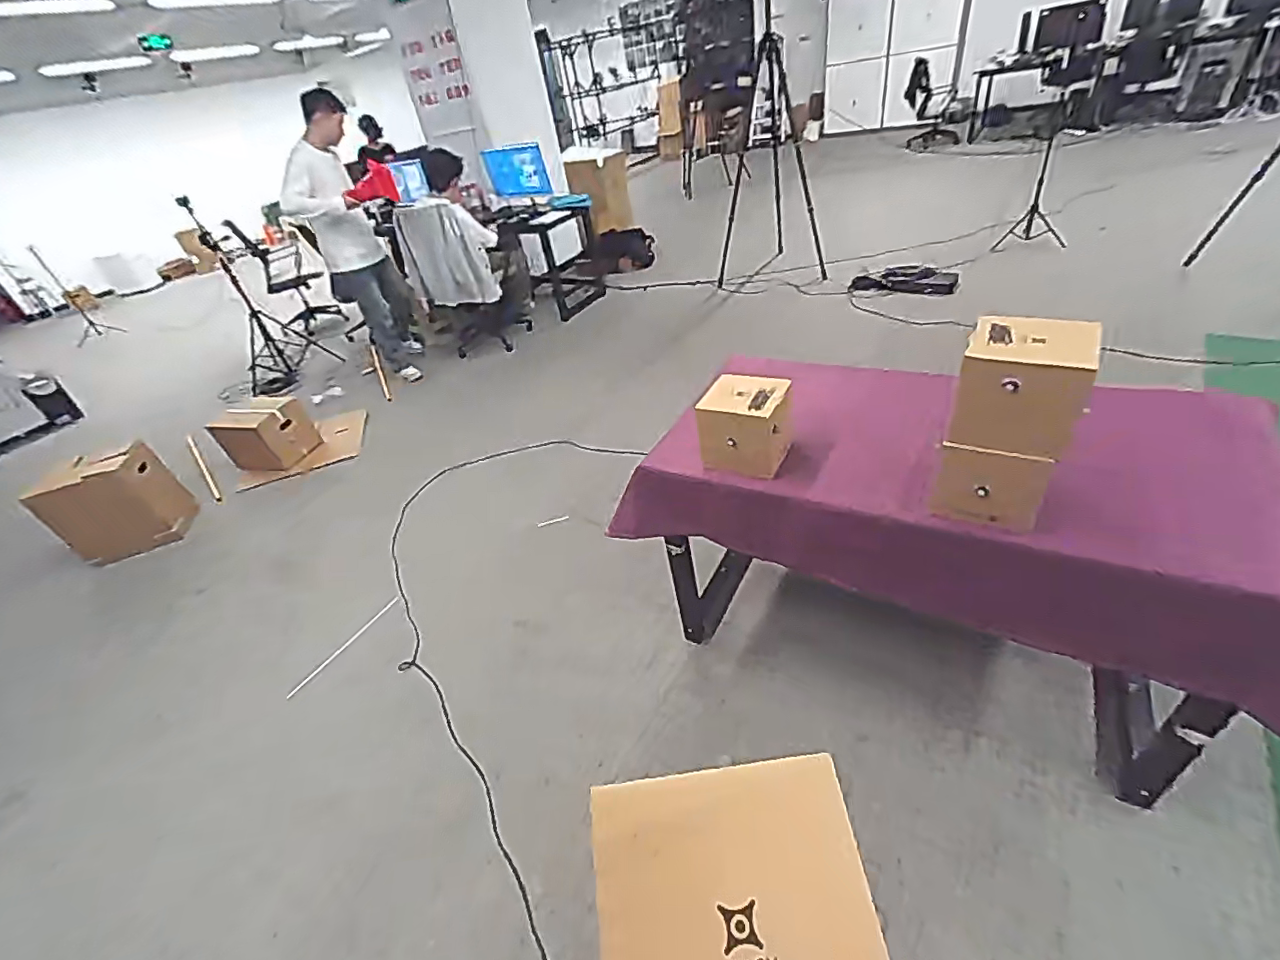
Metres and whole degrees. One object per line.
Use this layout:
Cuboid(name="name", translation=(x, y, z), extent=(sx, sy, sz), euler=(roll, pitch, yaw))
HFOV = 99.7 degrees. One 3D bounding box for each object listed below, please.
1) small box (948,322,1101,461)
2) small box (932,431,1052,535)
Cuboid(name="small box", translation=(0.646, -0.152, 0.921), extent=(0.179, 0.176, 0.168), euler=(16, 45, 31))
Cuboid(name="small box", translation=(0.666, -0.023, 1.022), extent=(0.168, 0.176, 0.179), euler=(15, 45, 31))
